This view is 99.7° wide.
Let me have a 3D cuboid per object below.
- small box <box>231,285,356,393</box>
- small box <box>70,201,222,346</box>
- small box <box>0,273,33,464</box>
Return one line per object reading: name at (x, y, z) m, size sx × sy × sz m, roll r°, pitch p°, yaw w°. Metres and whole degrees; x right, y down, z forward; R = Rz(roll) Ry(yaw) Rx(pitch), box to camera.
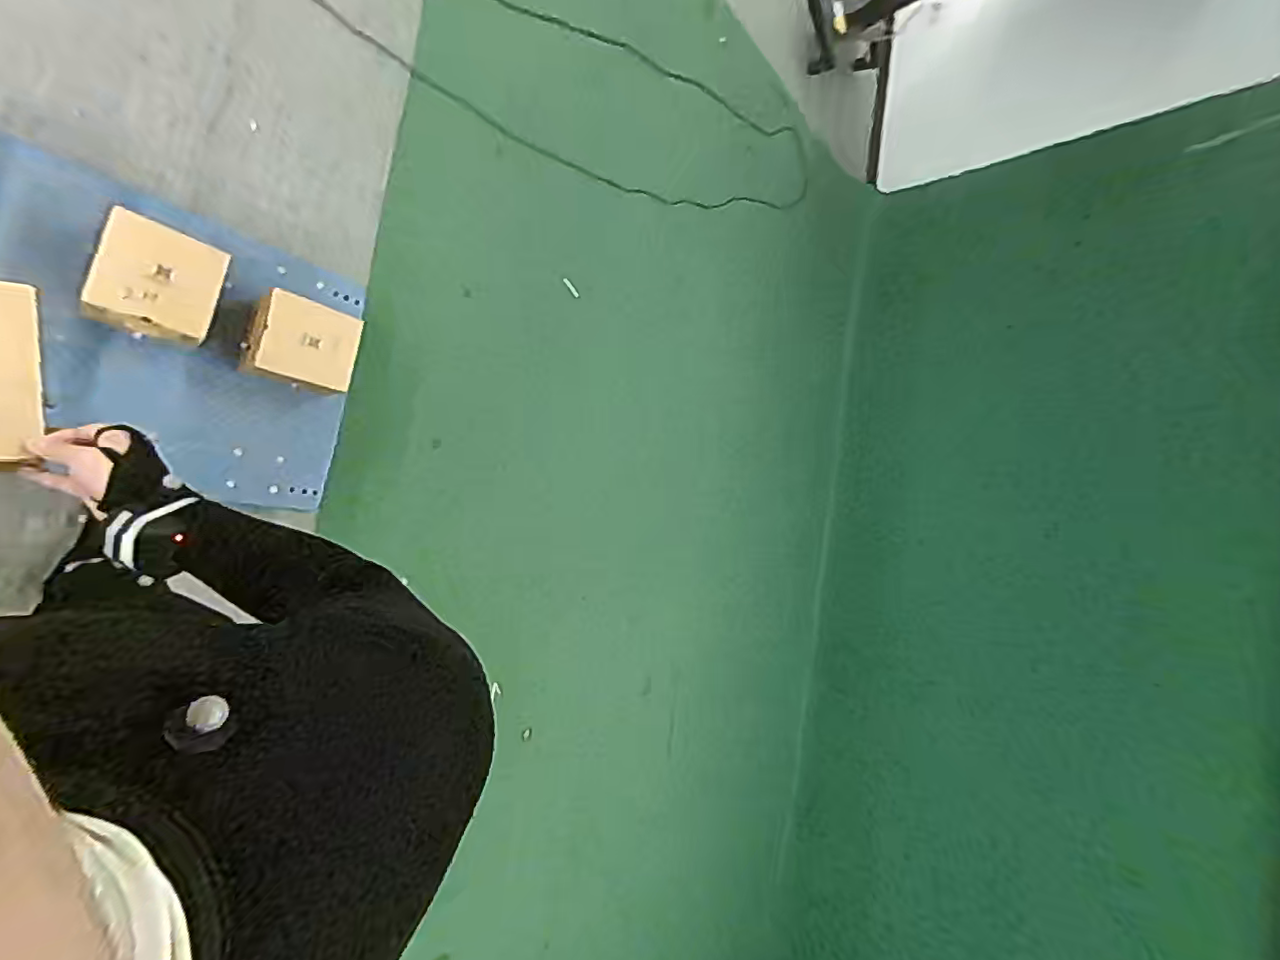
small box at (-0.750, -0.292, 1.167) m, size 0.179 × 0.176 × 0.168 m, roll 17°, pitch 81°, yaw -46°
small box at (-0.908, -0.365, 0.994) m, size 0.168 × 0.176 × 0.179 m, roll 20°, pitch 79°, yaw -45°
small box at (-0.698, -0.104, 0.509) m, size 0.168 × 0.176 × 0.179 m, roll -3°, pitch 90°, yaw -49°
